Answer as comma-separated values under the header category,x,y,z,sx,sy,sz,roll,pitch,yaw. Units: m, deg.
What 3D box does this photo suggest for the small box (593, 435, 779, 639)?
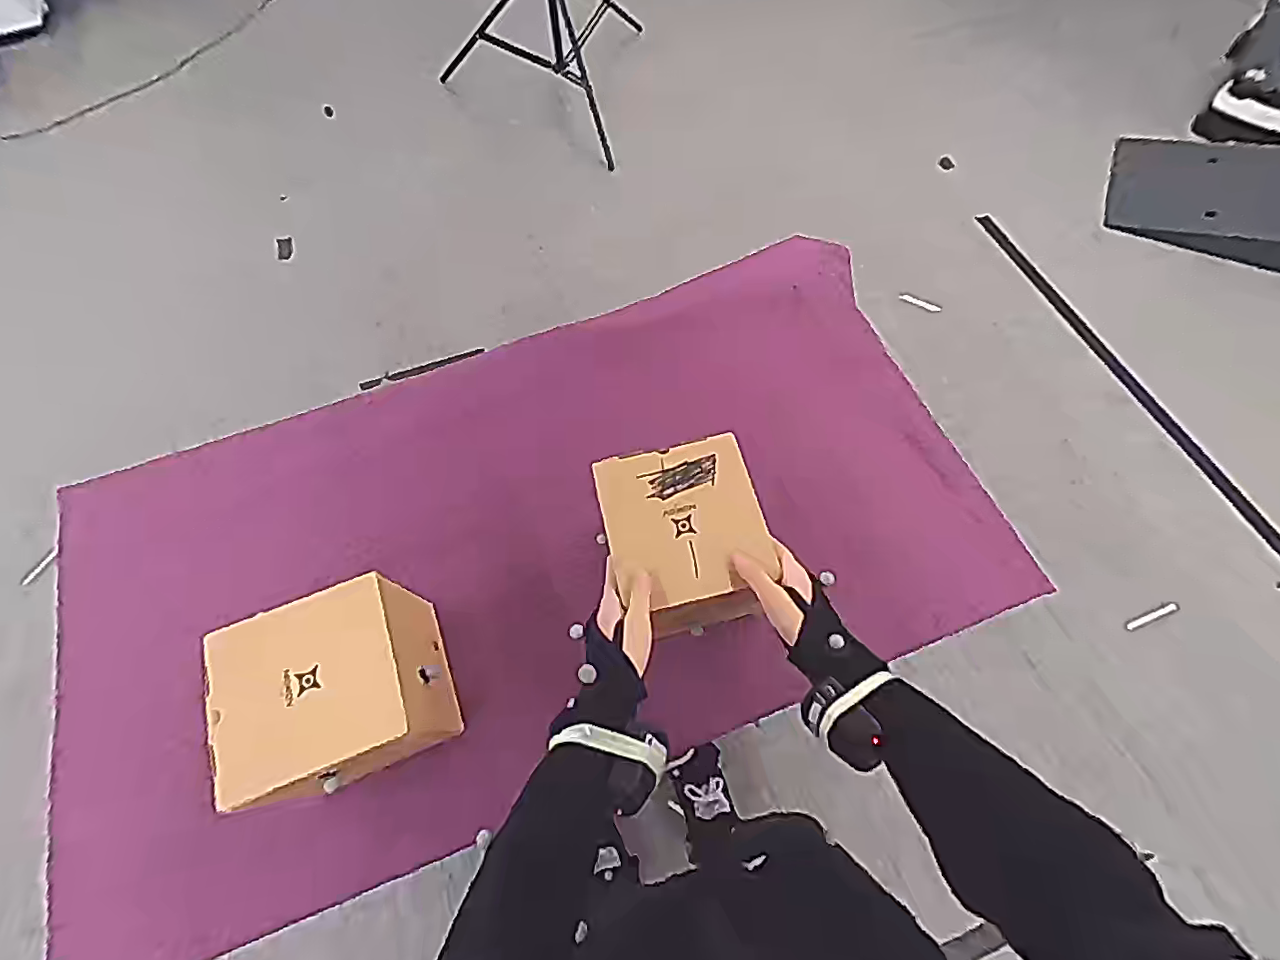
category,x,y,z,sx,sy,sz,roll,pitch,yaw
small box,0.045,0.074,0.641,0.168,0.176,0.179,-12,66,-3

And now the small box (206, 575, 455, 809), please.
category,x,y,z,sx,sy,sz,roll,pitch,yaw
small box,-0.320,0.225,0.592,0.179,0.176,0.168,-21,68,-7
